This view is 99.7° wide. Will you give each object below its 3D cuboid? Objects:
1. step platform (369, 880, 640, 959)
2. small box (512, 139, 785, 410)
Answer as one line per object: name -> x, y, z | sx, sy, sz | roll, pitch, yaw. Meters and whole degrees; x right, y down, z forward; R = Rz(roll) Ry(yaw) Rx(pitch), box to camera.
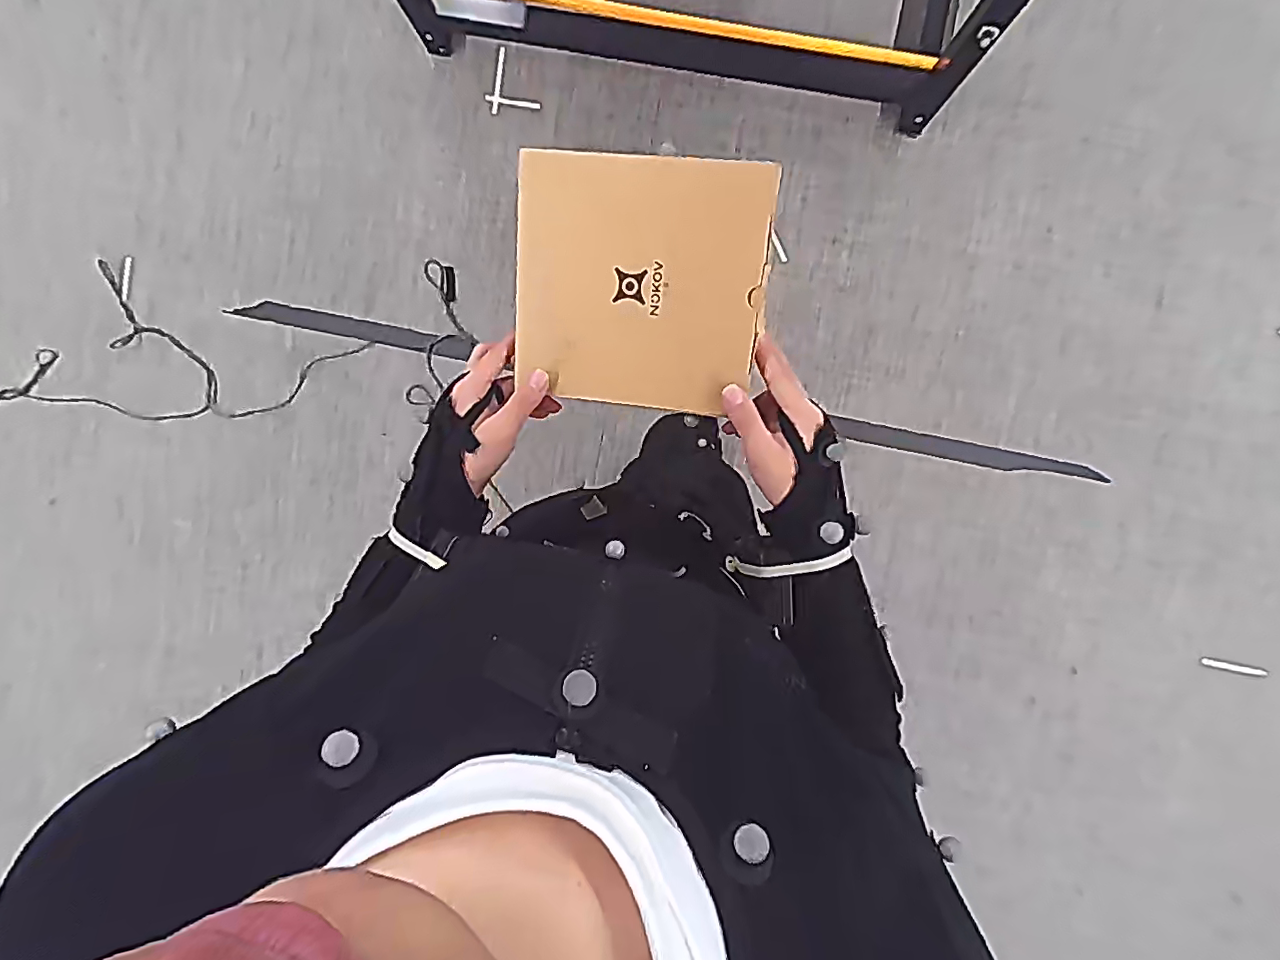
step platform -> -0.348, 1.287, 1.376 | 0.684, 0.204, 0.286 | 11, 95, 1
small box -> 0.010, -0.157, 0.447 | 0.179, 0.176, 0.168 | 7, 106, 6
